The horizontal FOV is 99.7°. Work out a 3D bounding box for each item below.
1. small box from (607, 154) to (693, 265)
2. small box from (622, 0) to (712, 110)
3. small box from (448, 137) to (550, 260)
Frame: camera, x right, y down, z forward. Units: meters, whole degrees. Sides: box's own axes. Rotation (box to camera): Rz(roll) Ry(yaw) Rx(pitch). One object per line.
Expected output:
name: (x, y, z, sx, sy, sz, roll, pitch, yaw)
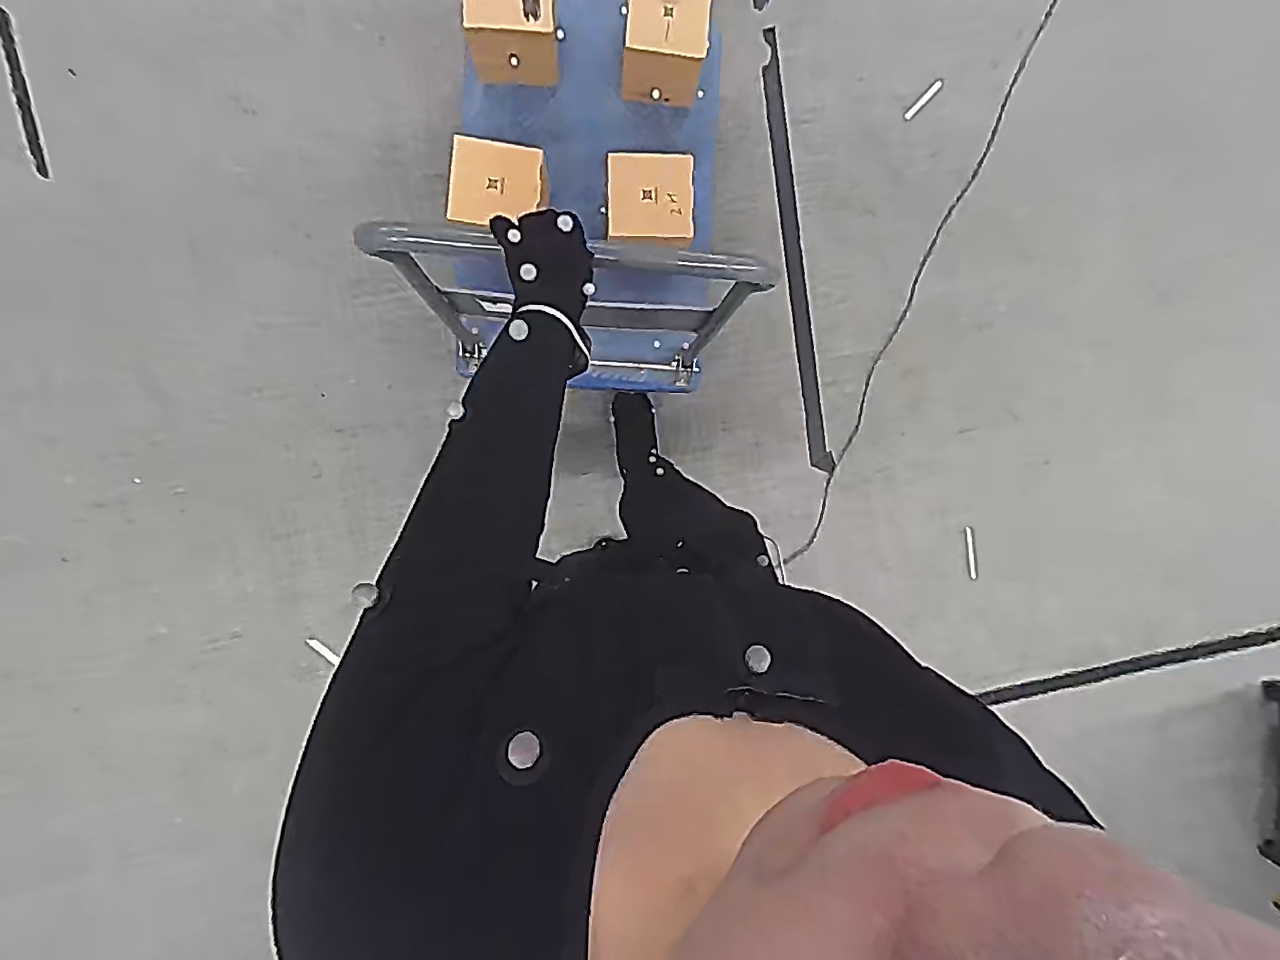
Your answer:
small box: (0.016, -0.578, 1.174, 0.179, 0.176, 0.168, 0, 94, -4)
small box: (0.052, -0.941, 1.155, 0.168, 0.176, 0.179, 4, 94, -5)
small box: (-0.292, -0.586, 1.148, 0.179, 0.176, 0.168, 6, 92, -7)
